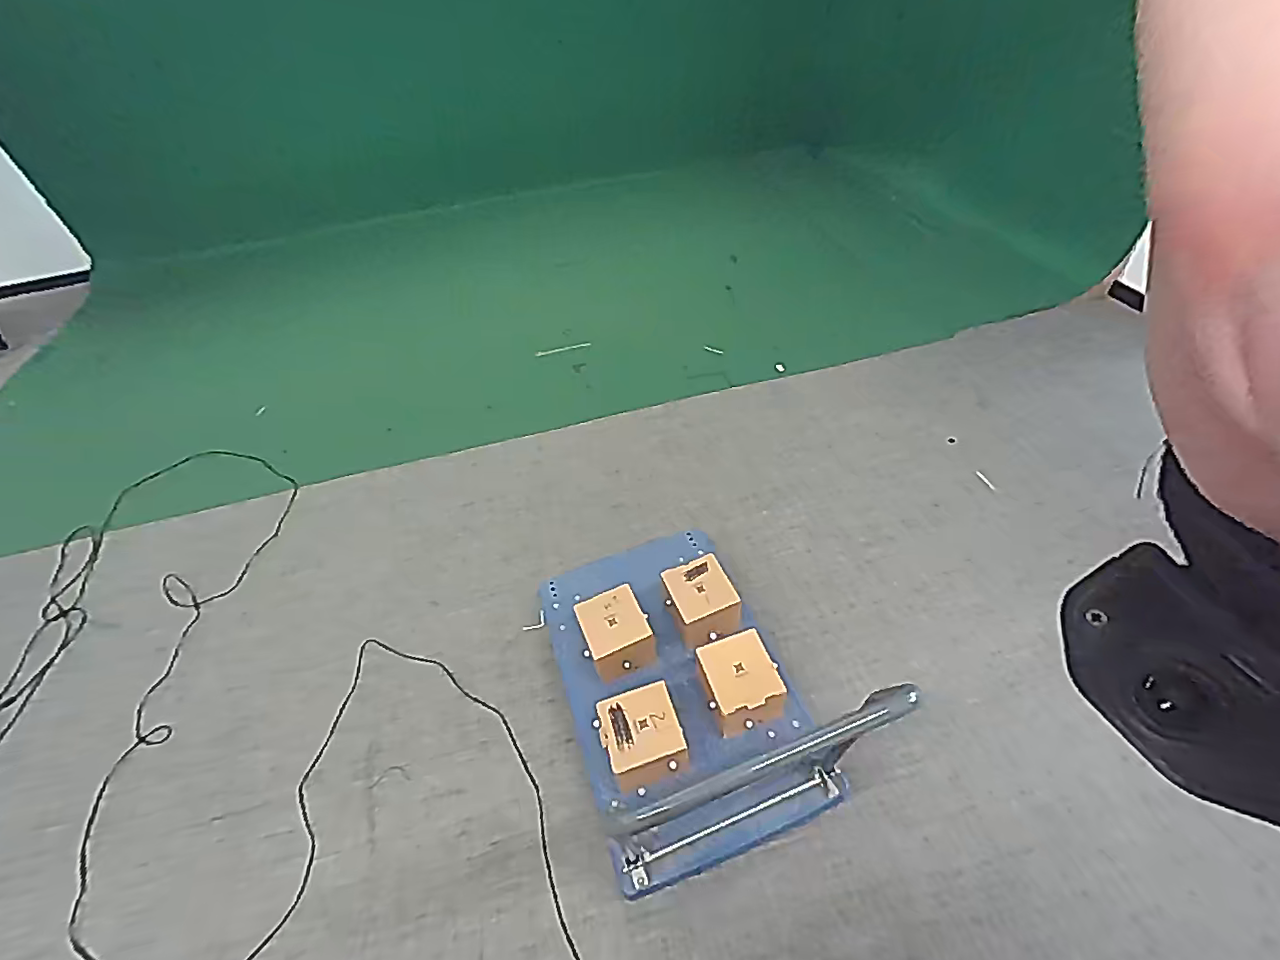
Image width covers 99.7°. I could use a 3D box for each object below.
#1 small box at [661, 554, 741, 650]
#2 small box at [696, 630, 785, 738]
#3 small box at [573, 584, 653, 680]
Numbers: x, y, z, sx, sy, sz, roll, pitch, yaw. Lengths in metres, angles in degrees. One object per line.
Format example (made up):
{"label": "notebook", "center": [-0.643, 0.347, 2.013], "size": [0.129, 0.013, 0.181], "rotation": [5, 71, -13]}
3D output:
{"label": "small box", "center": [0.169, 0.348, 1.536], "size": [0.168, 0.176, 0.179], "rotation": [-20, 49, -11]}
{"label": "small box", "center": [0.247, 0.519, 1.372], "size": [0.168, 0.176, 0.179], "rotation": [-17, 47, -9]}
{"label": "small box", "center": [-0.070, 0.426, 1.491], "size": [0.168, 0.176, 0.179], "rotation": [-20, 48, -13]}
